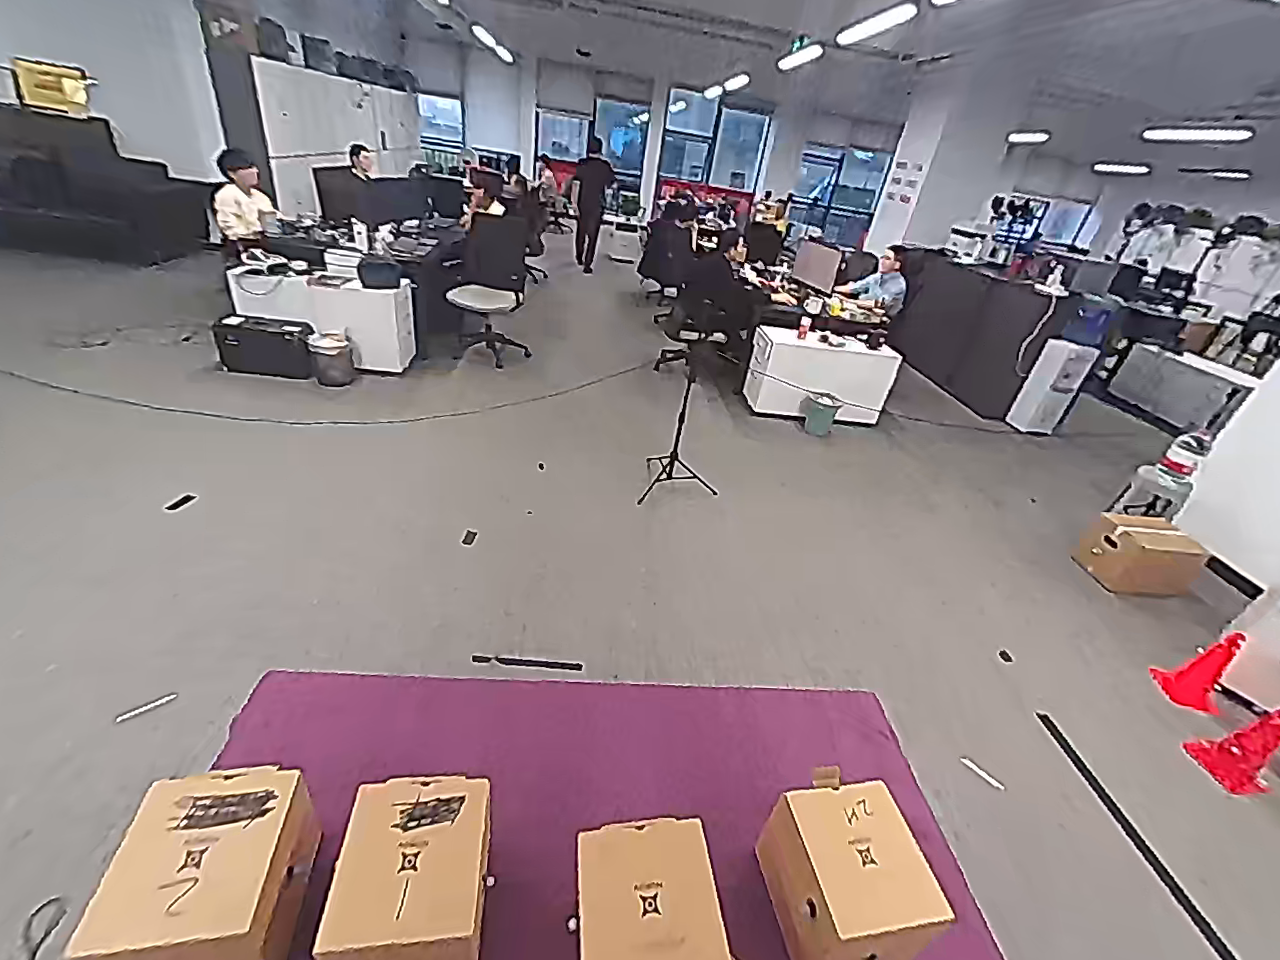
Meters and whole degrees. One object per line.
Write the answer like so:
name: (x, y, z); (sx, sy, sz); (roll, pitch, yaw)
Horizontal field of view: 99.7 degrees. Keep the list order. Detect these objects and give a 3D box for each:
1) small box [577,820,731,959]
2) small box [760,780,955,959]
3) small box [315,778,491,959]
small box: (0.006, 0.561, 0.666); (0.168, 0.176, 0.179); (-1, 29, -7)
small box: (0.290, 0.562, 0.765); (0.168, 0.176, 0.179); (2, 32, -13)
small box: (-0.285, 0.514, 0.692); (0.168, 0.176, 0.179); (3, 33, -10)
